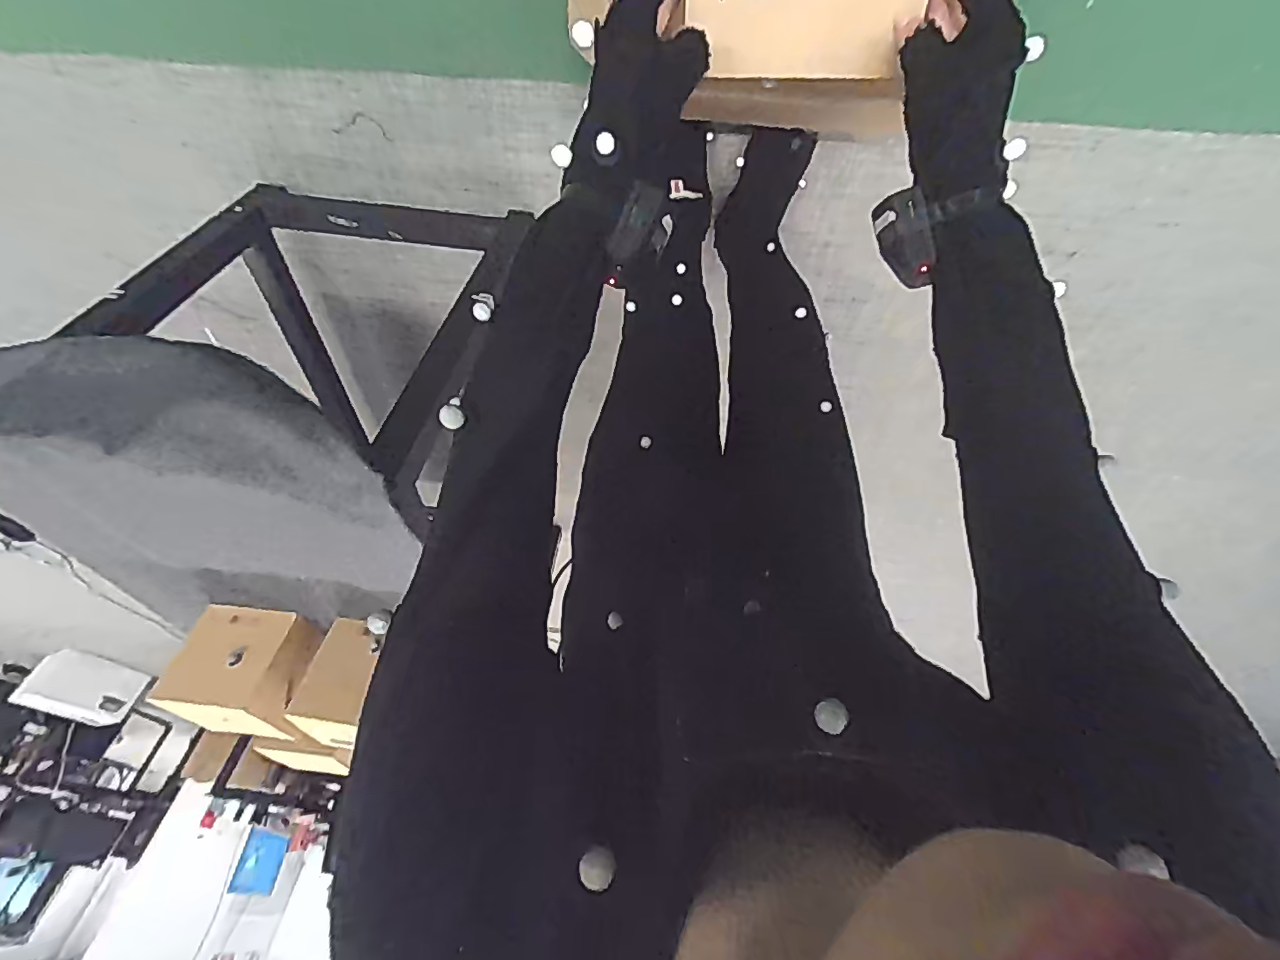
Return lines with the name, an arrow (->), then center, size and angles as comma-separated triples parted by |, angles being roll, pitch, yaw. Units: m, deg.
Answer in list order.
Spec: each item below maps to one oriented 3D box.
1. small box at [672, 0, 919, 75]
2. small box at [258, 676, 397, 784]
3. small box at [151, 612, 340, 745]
small box -> 0.119, -0.429, 0.415 | 0.179, 0.176, 0.168 | 3, 137, 3
small box -> -0.654, 0.530, 1.157 | 0.168, 0.176, 0.179 | 5, 140, 4
small box -> -0.667, 0.343, 0.941 | 0.168, 0.176, 0.179 | 4, 141, 5
